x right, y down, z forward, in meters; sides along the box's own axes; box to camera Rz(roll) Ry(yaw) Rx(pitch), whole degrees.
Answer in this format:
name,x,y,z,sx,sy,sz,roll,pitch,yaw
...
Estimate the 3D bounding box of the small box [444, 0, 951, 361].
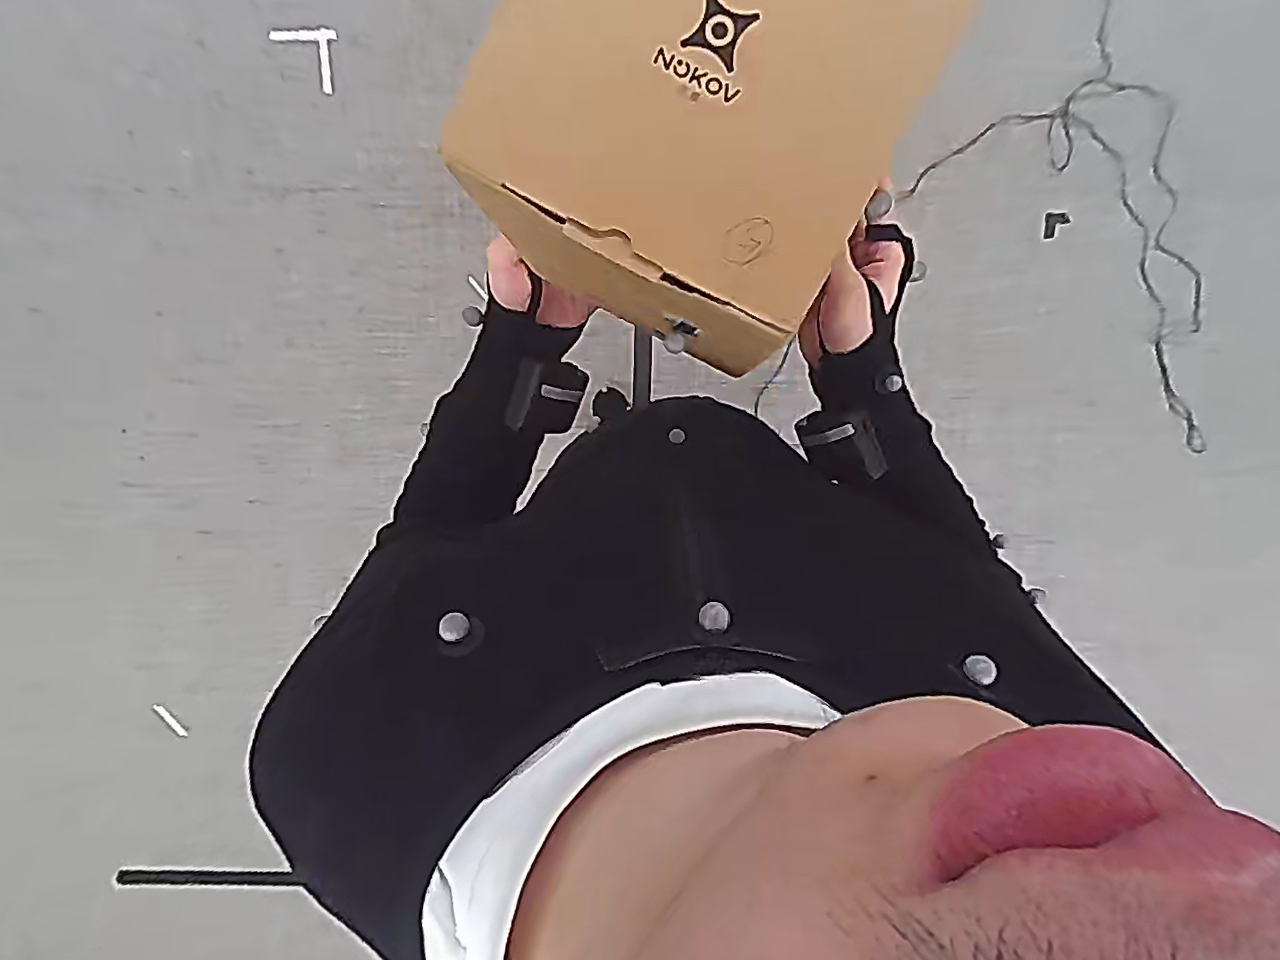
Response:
name,x,y,z,sx,sy,sz,roll,pitch,yaw
small box,0.028,-0.183,0.300,0.168,0.176,0.179,26,96,-1
